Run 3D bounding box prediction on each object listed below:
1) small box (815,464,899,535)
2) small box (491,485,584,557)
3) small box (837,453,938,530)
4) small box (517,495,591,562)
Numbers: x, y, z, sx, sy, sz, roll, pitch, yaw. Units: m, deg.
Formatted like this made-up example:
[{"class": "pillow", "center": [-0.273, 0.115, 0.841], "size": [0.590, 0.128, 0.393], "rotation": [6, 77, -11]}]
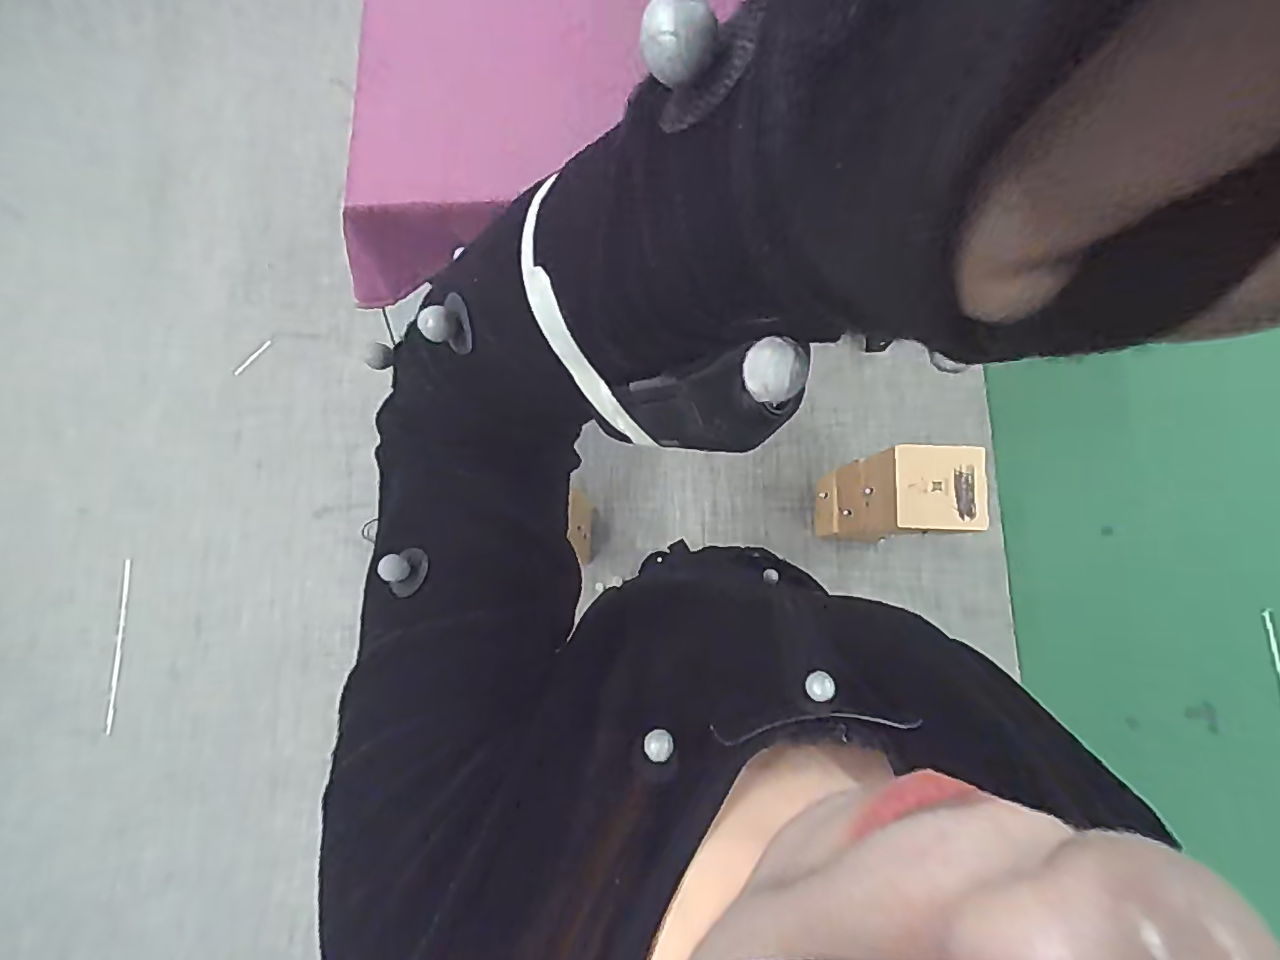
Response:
[{"class": "small box", "center": [0.576, 0.058, 1.451], "size": [0.179, 0.176, 0.168], "rotation": [3, 81, 2]}, {"class": "small box", "center": [-0.241, 0.097, 1.311], "size": [0.179, 0.176, 0.168], "rotation": [6, 81, 3]}, {"class": "small box", "center": [0.579, 0.033, 1.290], "size": [0.179, 0.176, 0.168], "rotation": [1, 82, 1]}, {"class": "small box", "center": [-0.227, 0.132, 1.472], "size": [0.168, 0.176, 0.179], "rotation": [2, 80, 2]}]
